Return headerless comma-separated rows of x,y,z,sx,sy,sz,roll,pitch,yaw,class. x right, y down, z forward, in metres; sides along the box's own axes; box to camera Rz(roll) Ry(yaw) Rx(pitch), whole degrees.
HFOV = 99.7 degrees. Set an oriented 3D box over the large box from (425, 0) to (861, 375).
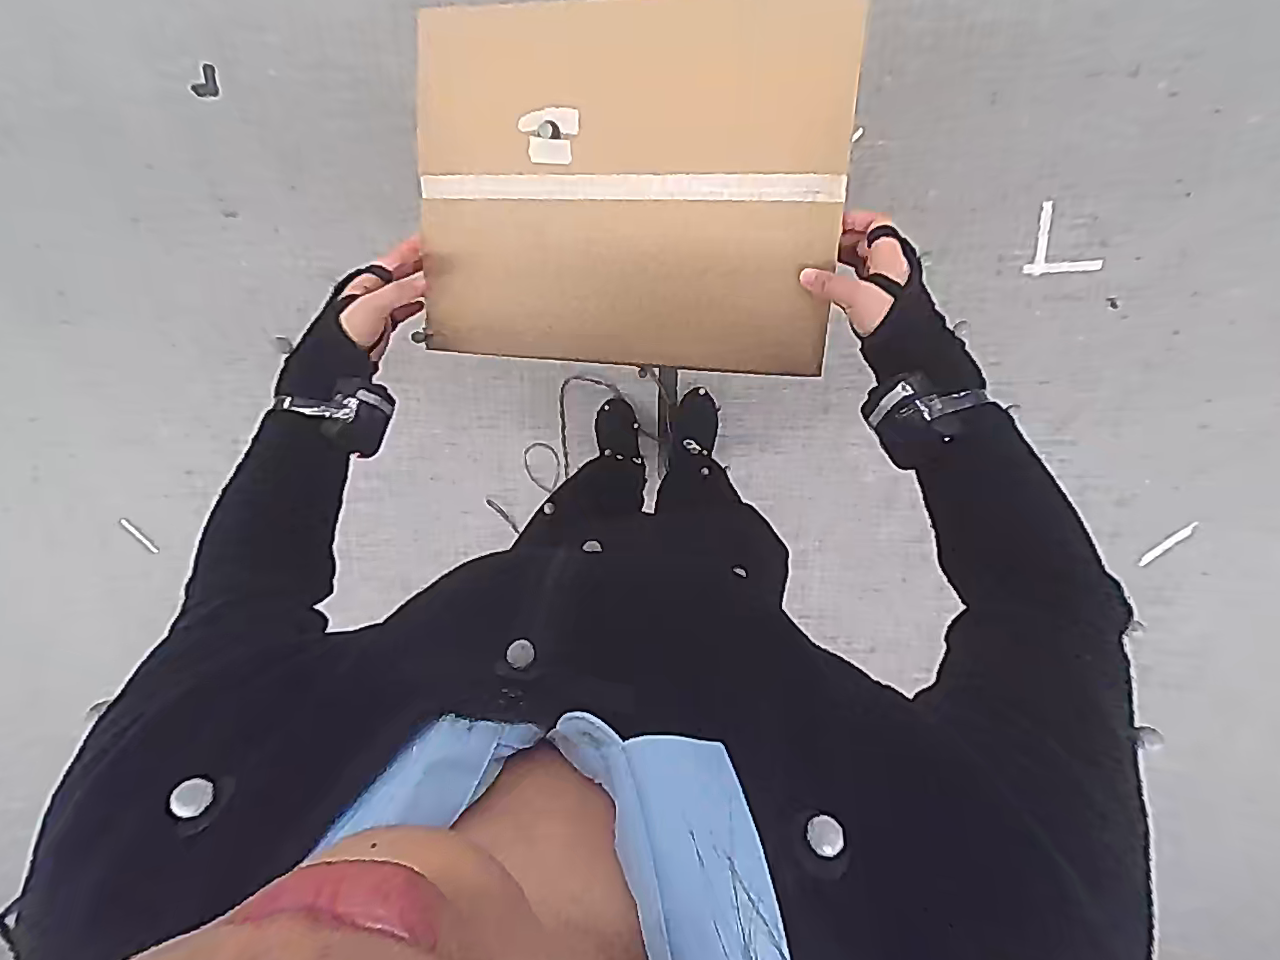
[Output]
0.013,-0.296,0.651,0.408,0.320,0.320,6,102,11,large box
